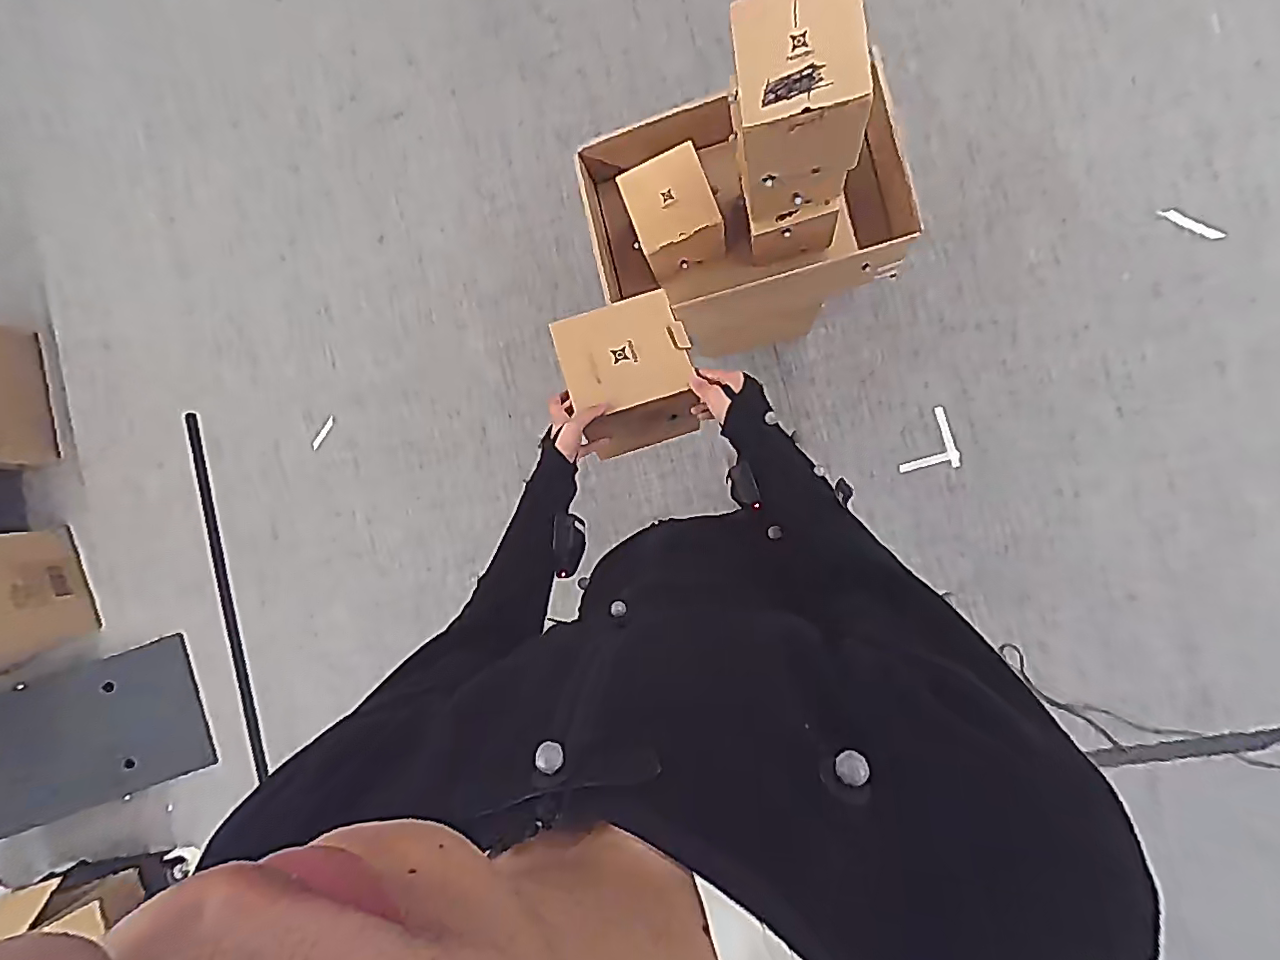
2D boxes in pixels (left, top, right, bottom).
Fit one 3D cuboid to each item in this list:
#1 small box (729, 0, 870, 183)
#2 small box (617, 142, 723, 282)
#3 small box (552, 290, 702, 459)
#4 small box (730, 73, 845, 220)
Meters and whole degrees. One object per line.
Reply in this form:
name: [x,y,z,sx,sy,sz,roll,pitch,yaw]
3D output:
small box: [0.225,-0.557,0.776,0.168,0.176,0.179,-6,89,14]
small box: [0.070,-0.554,1.141,0.168,0.176,0.179,-22,87,10]
small box: [-0.015,-0.150,0.820,0.179,0.176,0.168,-18,73,0]
small box: [0.255,-0.591,0.938,0.168,0.176,0.179,-12,88,14]
